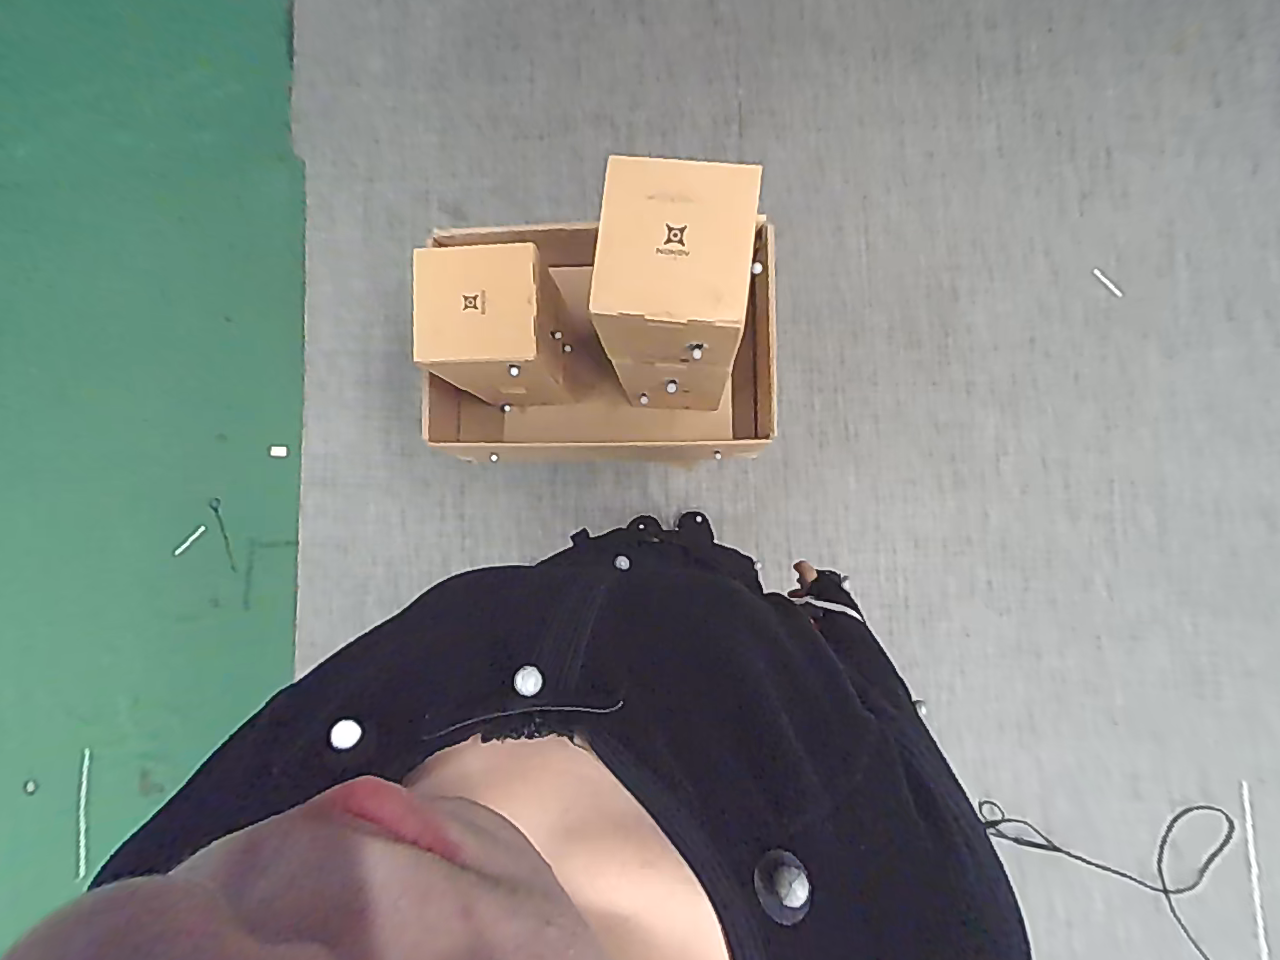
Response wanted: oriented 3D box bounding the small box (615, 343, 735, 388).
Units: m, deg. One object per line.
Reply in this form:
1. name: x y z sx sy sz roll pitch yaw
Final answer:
1. small box: 0.062 -0.241 0.809 0.168 0.176 0.179 6 89 5

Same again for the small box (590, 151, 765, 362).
1. small box: 0.046 -0.251 0.645 0.168 0.176 0.179 8 86 5

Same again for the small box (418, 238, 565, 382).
1. small box: -0.219 -0.251 0.836 0.179 0.176 0.168 -1 87 4
